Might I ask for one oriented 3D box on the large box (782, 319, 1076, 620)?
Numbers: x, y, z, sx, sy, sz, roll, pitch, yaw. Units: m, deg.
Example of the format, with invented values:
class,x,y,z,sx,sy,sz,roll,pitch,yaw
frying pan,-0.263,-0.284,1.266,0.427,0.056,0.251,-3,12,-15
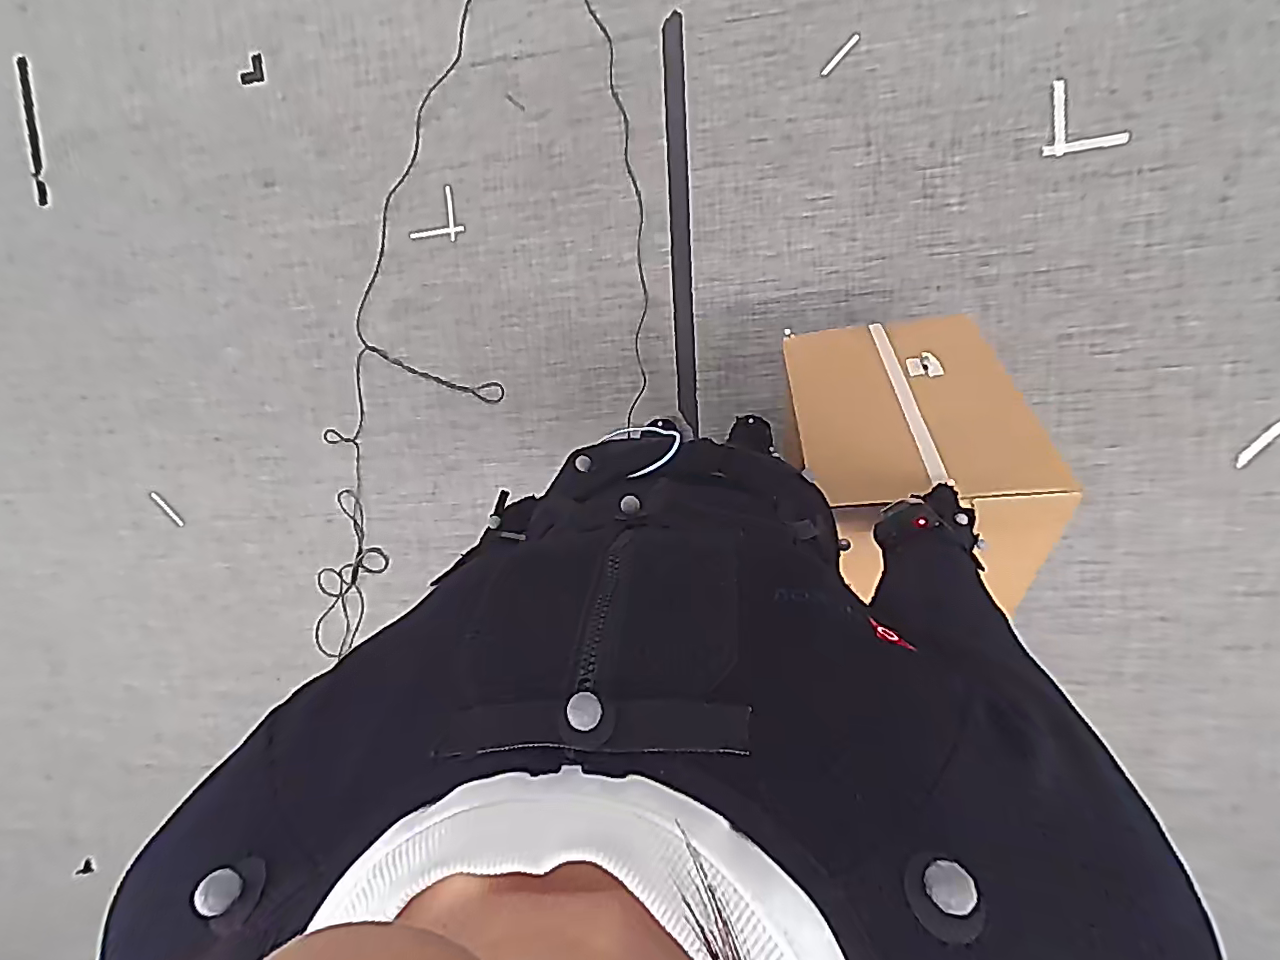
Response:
class,x,y,z,sx,sy,sz,roll,pitch,yaw
large box,0.426,-0.018,0.924,0.320,0.408,0.320,-4,136,10
